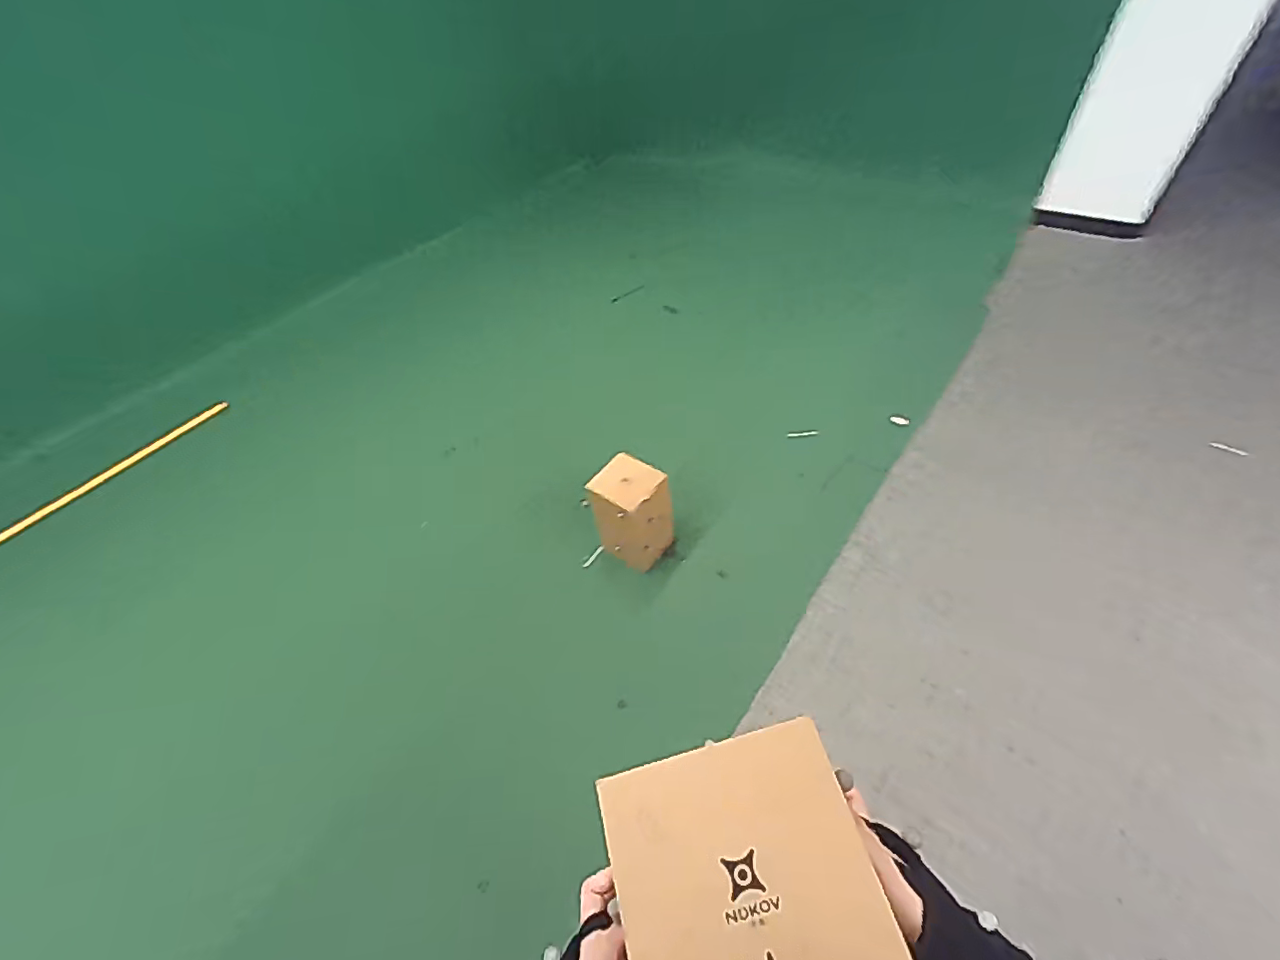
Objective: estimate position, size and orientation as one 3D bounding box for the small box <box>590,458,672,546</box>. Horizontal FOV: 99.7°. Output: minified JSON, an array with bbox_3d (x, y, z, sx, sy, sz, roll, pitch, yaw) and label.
[{"bbox_3d":[-0.022,0.069,1.623,0.179,0.176,0.168,26,57,28],"label":"small box"}]

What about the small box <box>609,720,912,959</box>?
[{"bbox_3d":[0.085,0.311,0.415,0.168,0.176,0.179,-17,55,1],"label":"small box"}]
